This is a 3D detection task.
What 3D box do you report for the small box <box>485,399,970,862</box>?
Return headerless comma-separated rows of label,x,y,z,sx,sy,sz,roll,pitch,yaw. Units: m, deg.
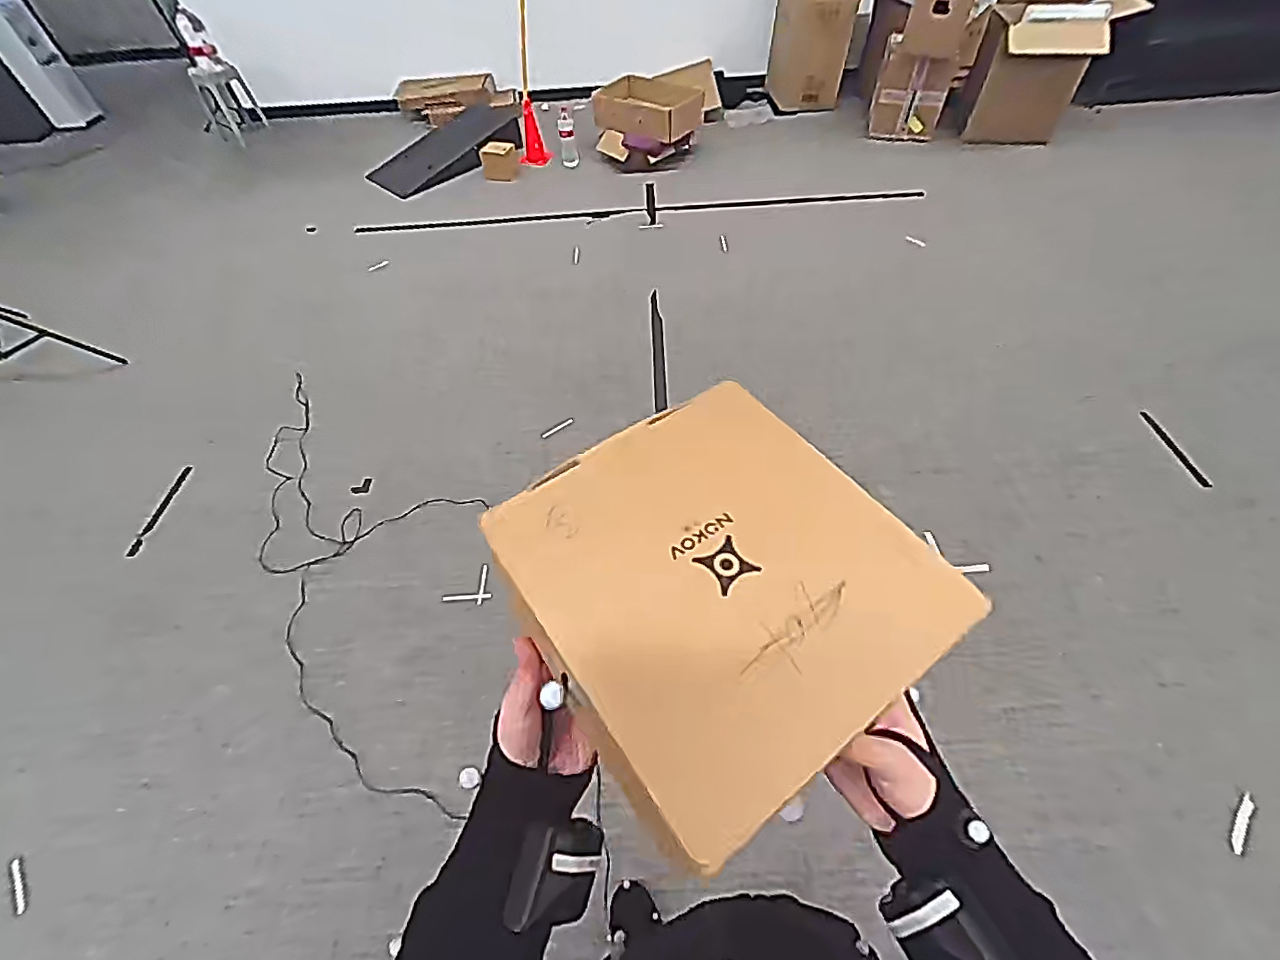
small box,0.036,0.091,0.323,0.168,0.176,0.179,-33,61,-20
